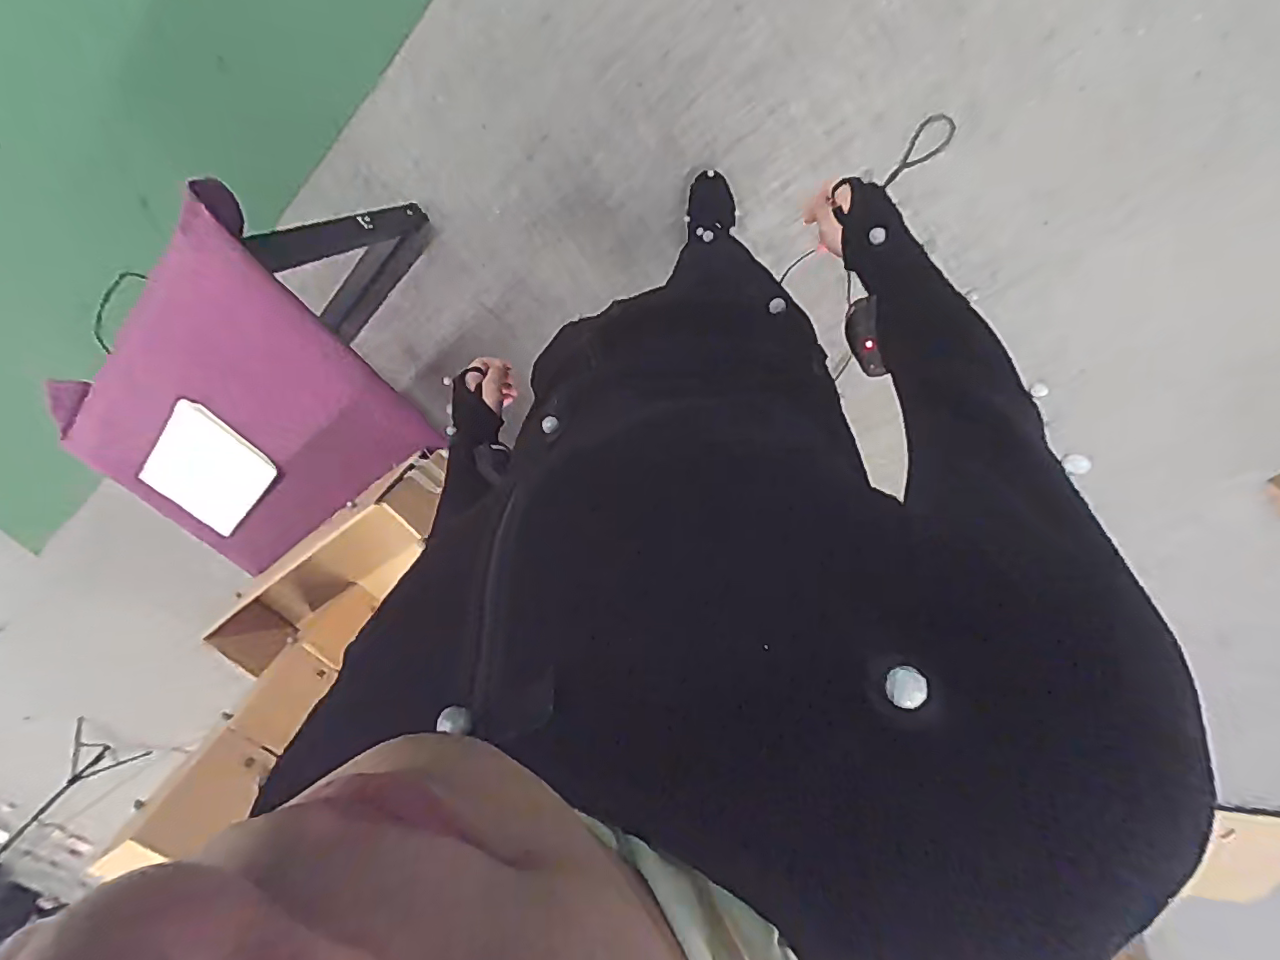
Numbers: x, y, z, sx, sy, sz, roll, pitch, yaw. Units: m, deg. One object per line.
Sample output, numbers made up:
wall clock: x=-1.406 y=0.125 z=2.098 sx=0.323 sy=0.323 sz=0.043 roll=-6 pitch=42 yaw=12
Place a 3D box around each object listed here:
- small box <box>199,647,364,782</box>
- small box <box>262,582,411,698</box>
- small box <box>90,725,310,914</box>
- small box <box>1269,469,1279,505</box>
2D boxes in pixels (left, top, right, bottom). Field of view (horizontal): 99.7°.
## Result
small box: x=-0.631 y=0.431 z=0.962 sx=0.179 sy=0.176 sz=0.168 roll=-34 pitch=110 yaw=25
small box: x=-0.604 y=0.344 z=1.099 sx=0.179 sy=0.176 sz=0.168 roll=-34 pitch=110 yaw=24
small box: x=-0.653 y=0.512 z=0.823 sx=0.179 sy=0.176 sz=0.168 roll=-35 pitch=110 yaw=24
small box: x=1.850 y=0.041 z=1.433 sx=0.168 sy=0.176 sz=0.179 roll=-36 pitch=110 yaw=27
